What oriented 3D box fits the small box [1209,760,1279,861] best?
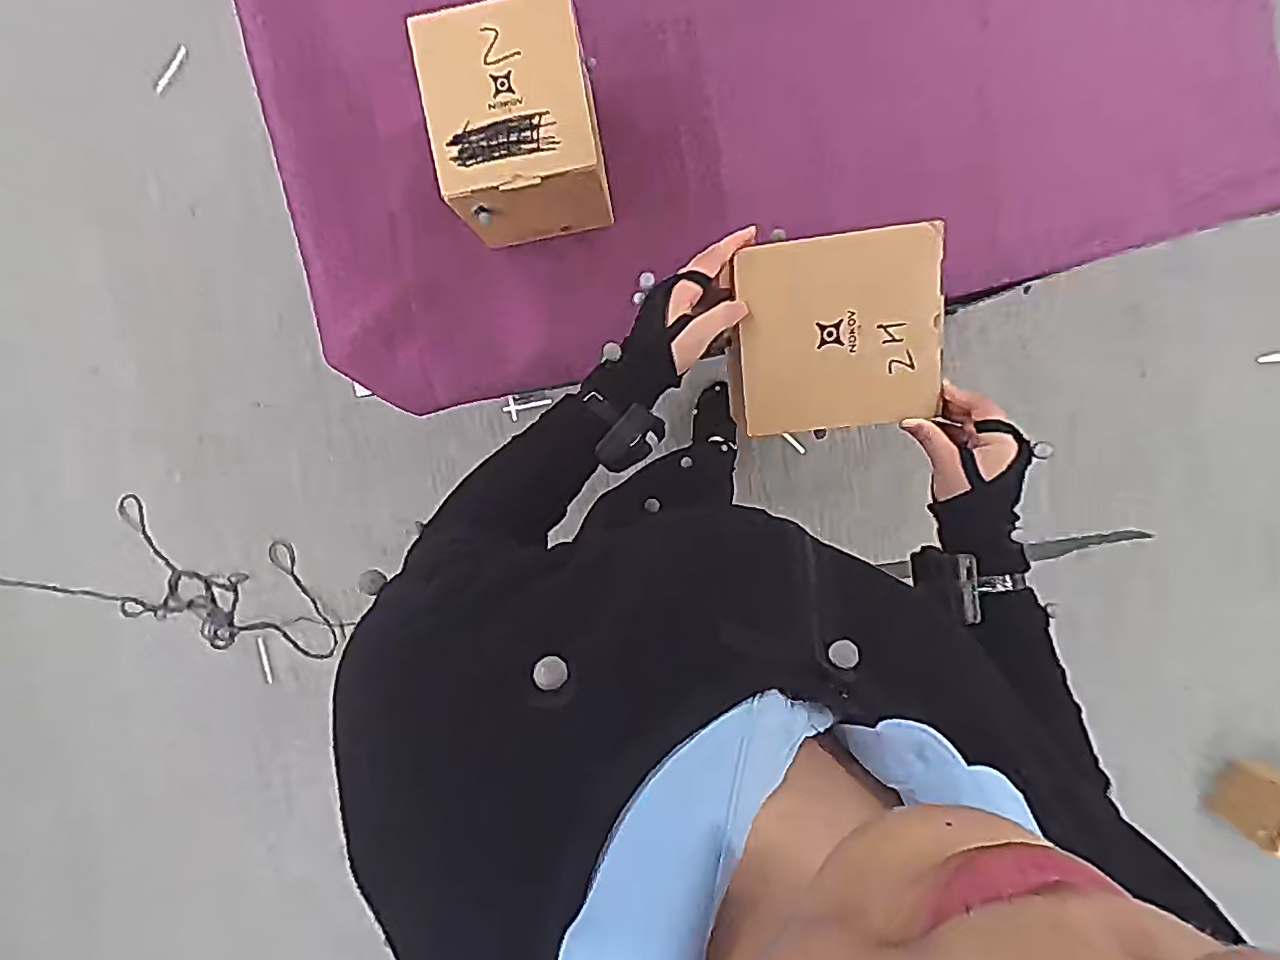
[{"bbox_3d":[1.685,0.881,1.428,0.168,0.176,0.179,15,97,0],"label":"small box"}]
